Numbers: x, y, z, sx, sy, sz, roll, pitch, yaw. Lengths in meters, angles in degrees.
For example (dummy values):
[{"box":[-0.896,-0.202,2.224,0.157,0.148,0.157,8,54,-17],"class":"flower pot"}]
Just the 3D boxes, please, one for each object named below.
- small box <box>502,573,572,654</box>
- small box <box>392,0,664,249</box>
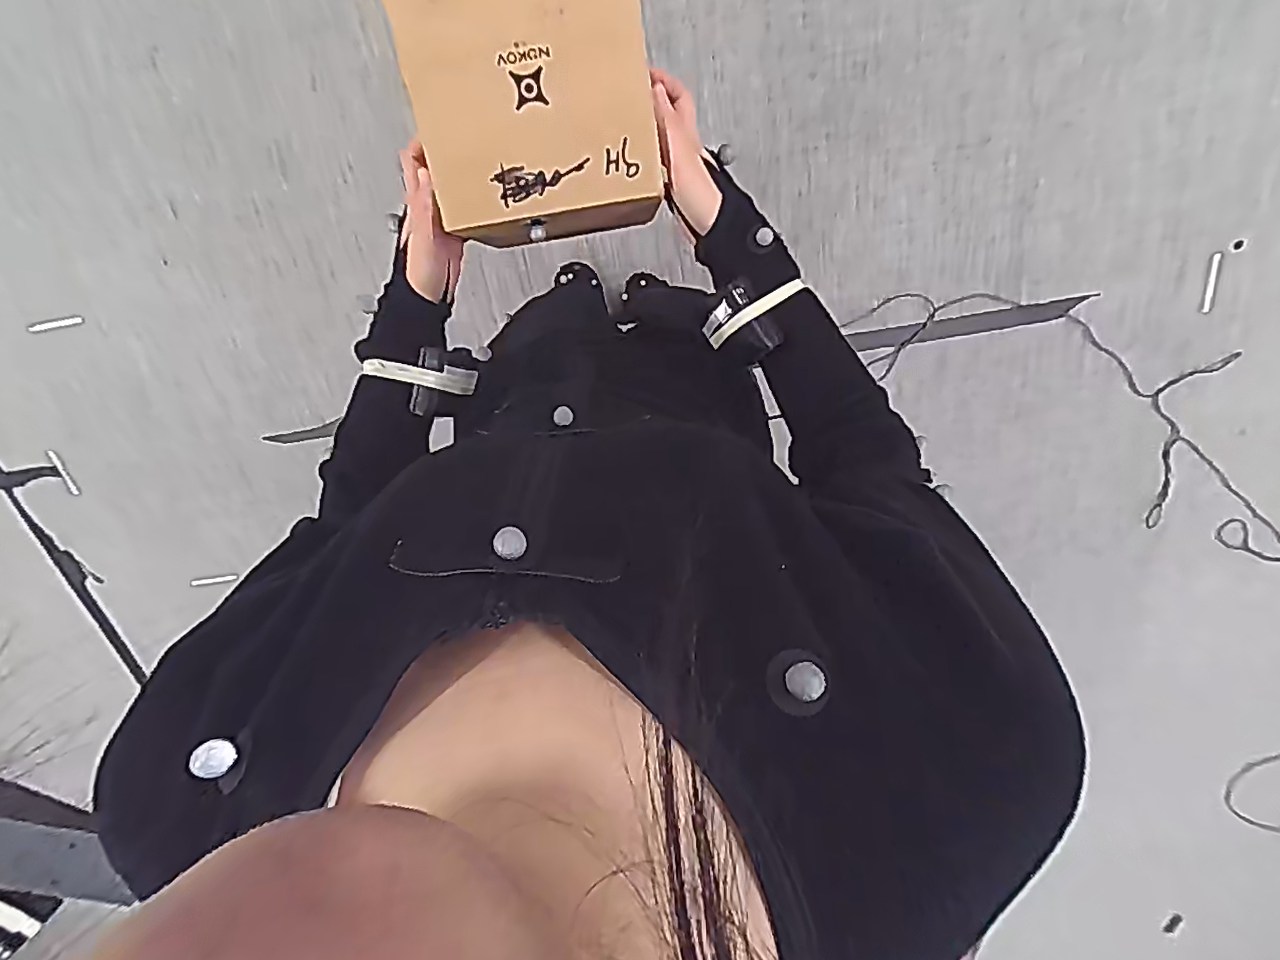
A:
[{"box":[-0.307,0.397,1.632,0.179,0.176,0.168,6,112,-3],"class":"small box"},{"box":[-0.078,-0.299,0.441,0.168,0.176,0.179,-9,109,1],"class":"small box"}]
